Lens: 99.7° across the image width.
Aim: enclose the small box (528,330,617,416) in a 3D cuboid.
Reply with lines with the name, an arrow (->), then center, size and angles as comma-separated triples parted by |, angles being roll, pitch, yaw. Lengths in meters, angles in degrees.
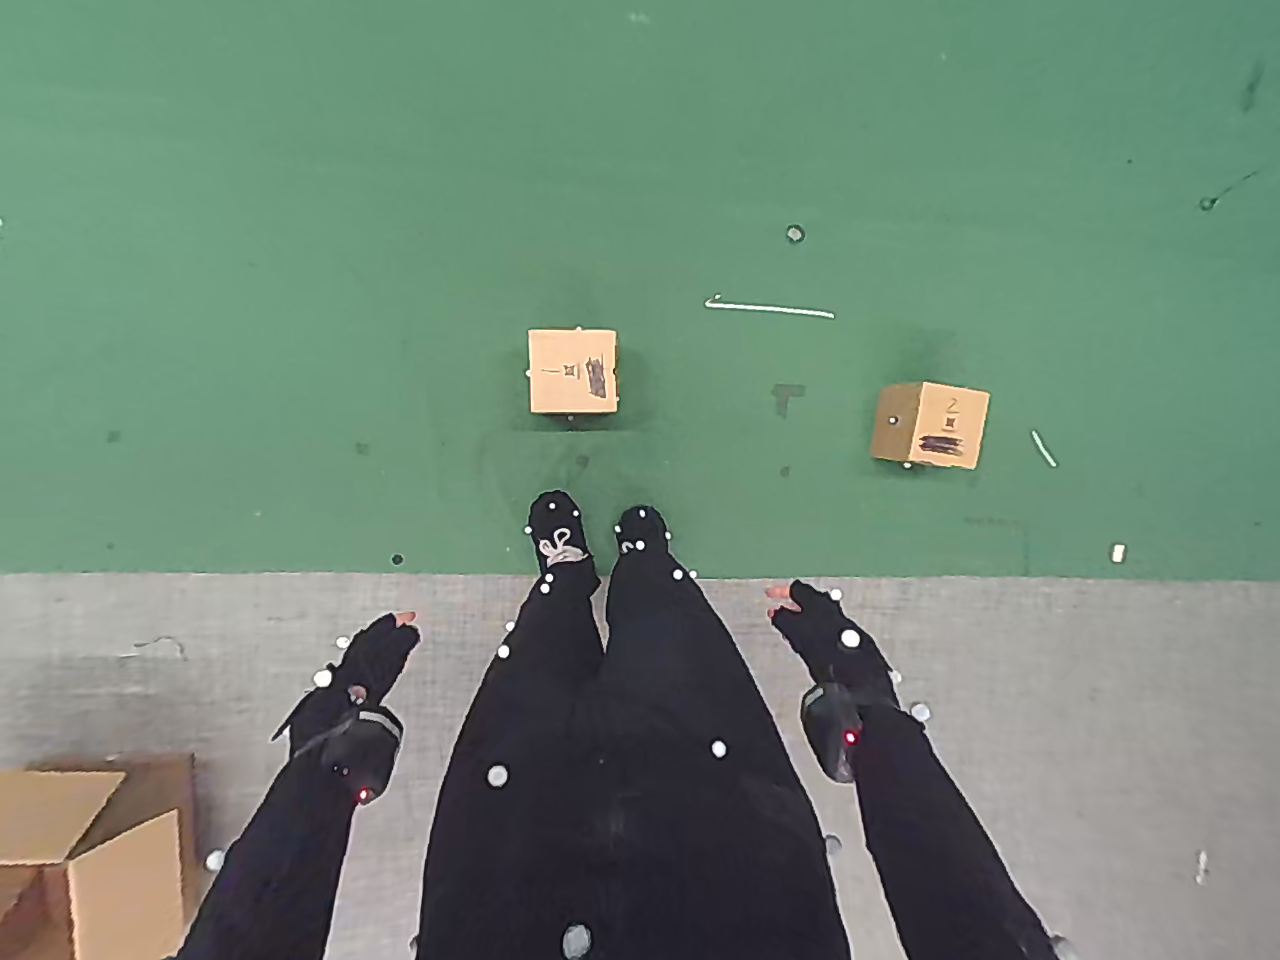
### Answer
small box -> -0.143, -0.224, 1.157 | 0.179, 0.176, 0.168 | -1, 96, -6
